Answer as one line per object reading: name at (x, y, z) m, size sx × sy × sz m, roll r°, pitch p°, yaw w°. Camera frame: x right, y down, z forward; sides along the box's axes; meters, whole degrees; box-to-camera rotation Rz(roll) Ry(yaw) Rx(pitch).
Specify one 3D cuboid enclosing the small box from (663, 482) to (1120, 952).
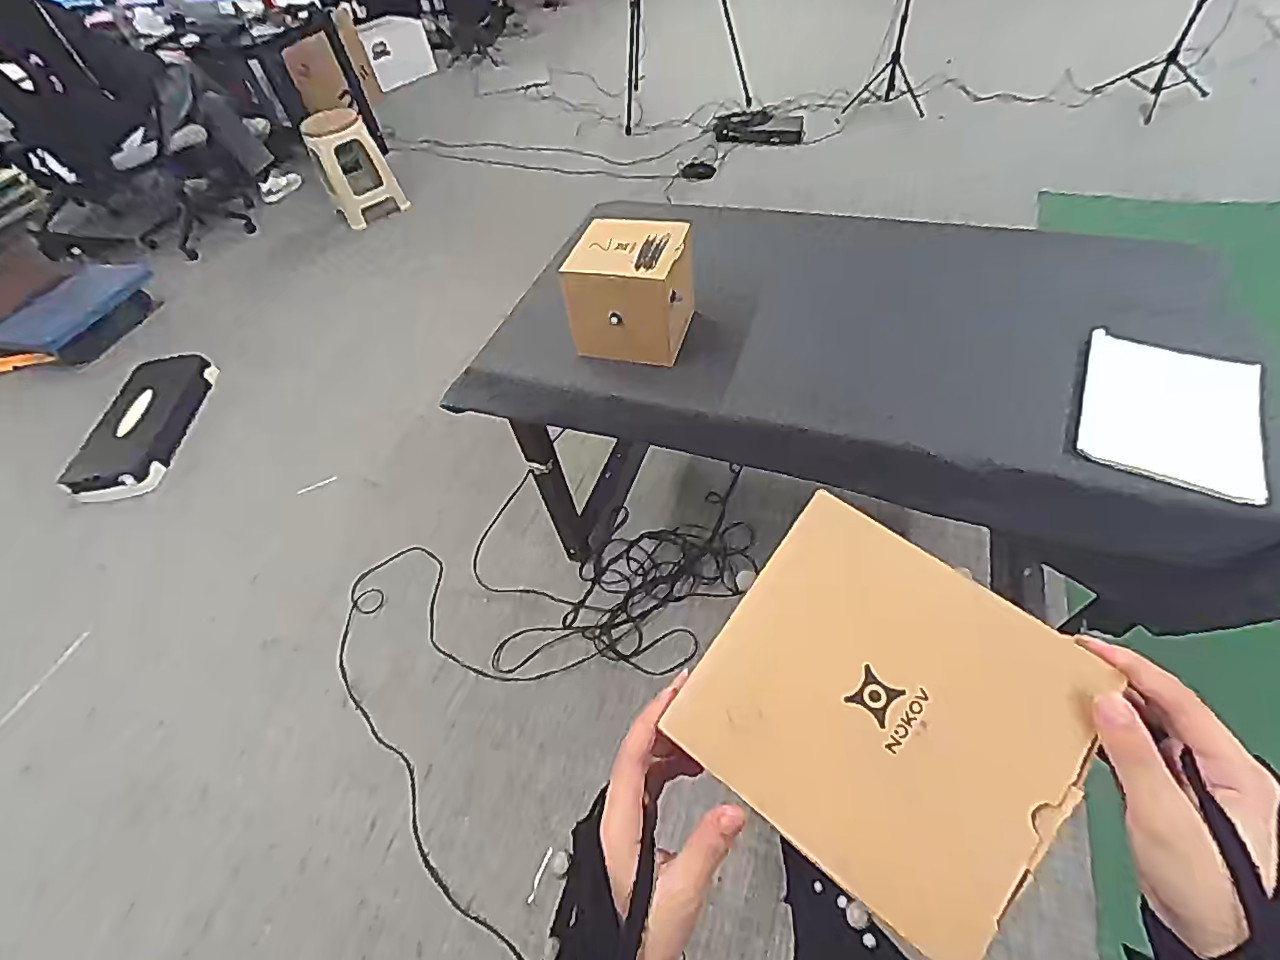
small box at (0.138, 0.134, 0.359) m, size 0.179 × 0.176 × 0.168 m, roll 34°, pitch 80°, yaw 18°
